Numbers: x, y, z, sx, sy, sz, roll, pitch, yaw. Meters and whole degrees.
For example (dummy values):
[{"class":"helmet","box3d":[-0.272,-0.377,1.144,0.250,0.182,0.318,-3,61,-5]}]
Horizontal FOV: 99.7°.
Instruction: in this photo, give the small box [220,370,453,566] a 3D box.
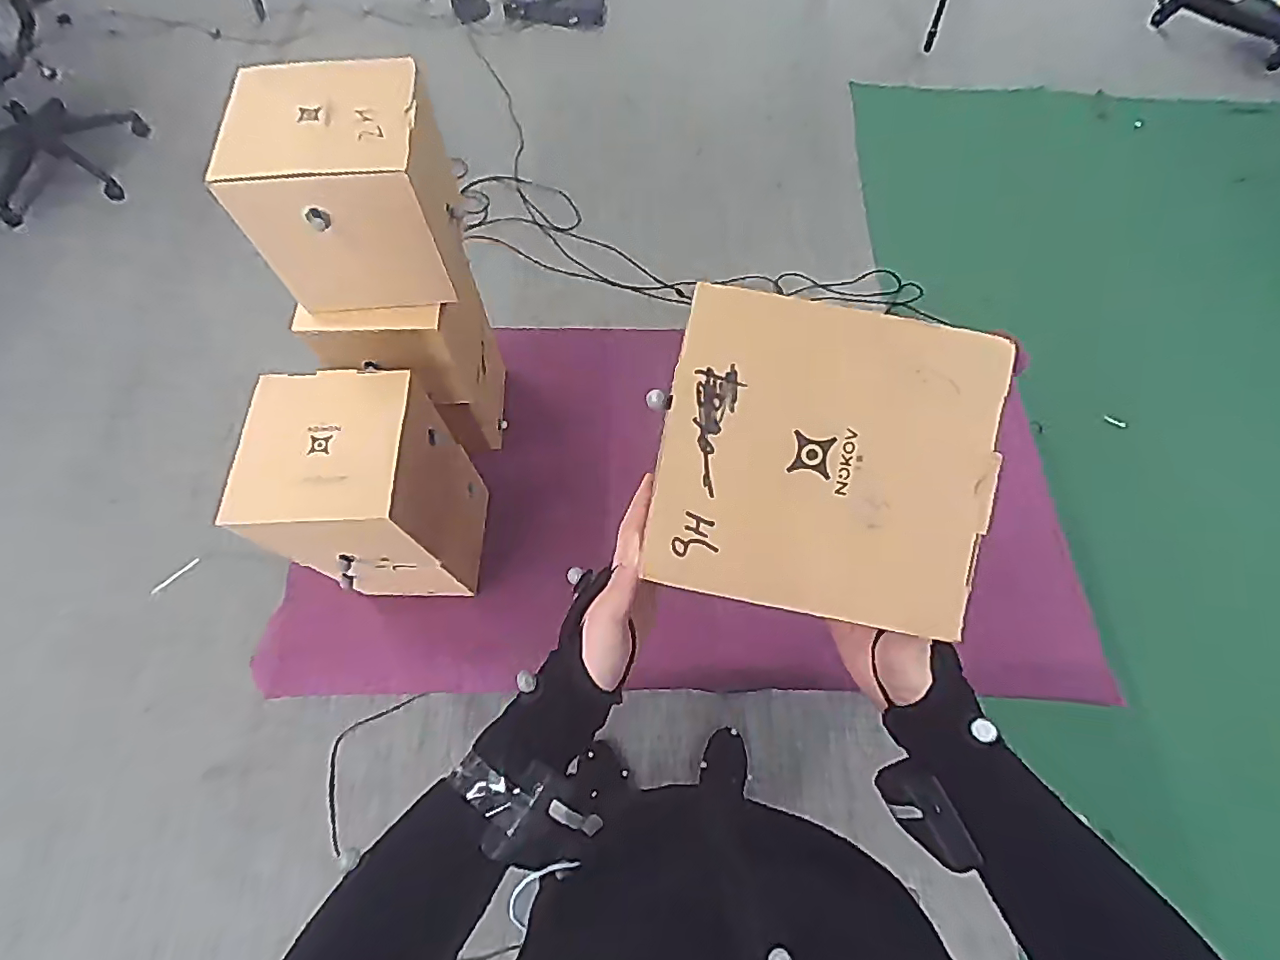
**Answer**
[{"class":"small box","box3d":[-0.327,-0.007,0.628,0.168,0.176,0.179,-1,66,-2]}]

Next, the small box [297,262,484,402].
[{"class":"small box","box3d":[-0.313,-0.215,0.721,0.168,0.176,0.179,-2,66,-2]}]

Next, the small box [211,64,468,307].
[{"class":"small box","box3d":[-0.298,-0.305,0.581,0.179,0.176,0.168,-5,67,-4]}]

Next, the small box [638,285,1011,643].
[{"class":"small box","box3d":[0.100,-0.007,0.371,0.179,0.176,0.168,12,88,0]}]
